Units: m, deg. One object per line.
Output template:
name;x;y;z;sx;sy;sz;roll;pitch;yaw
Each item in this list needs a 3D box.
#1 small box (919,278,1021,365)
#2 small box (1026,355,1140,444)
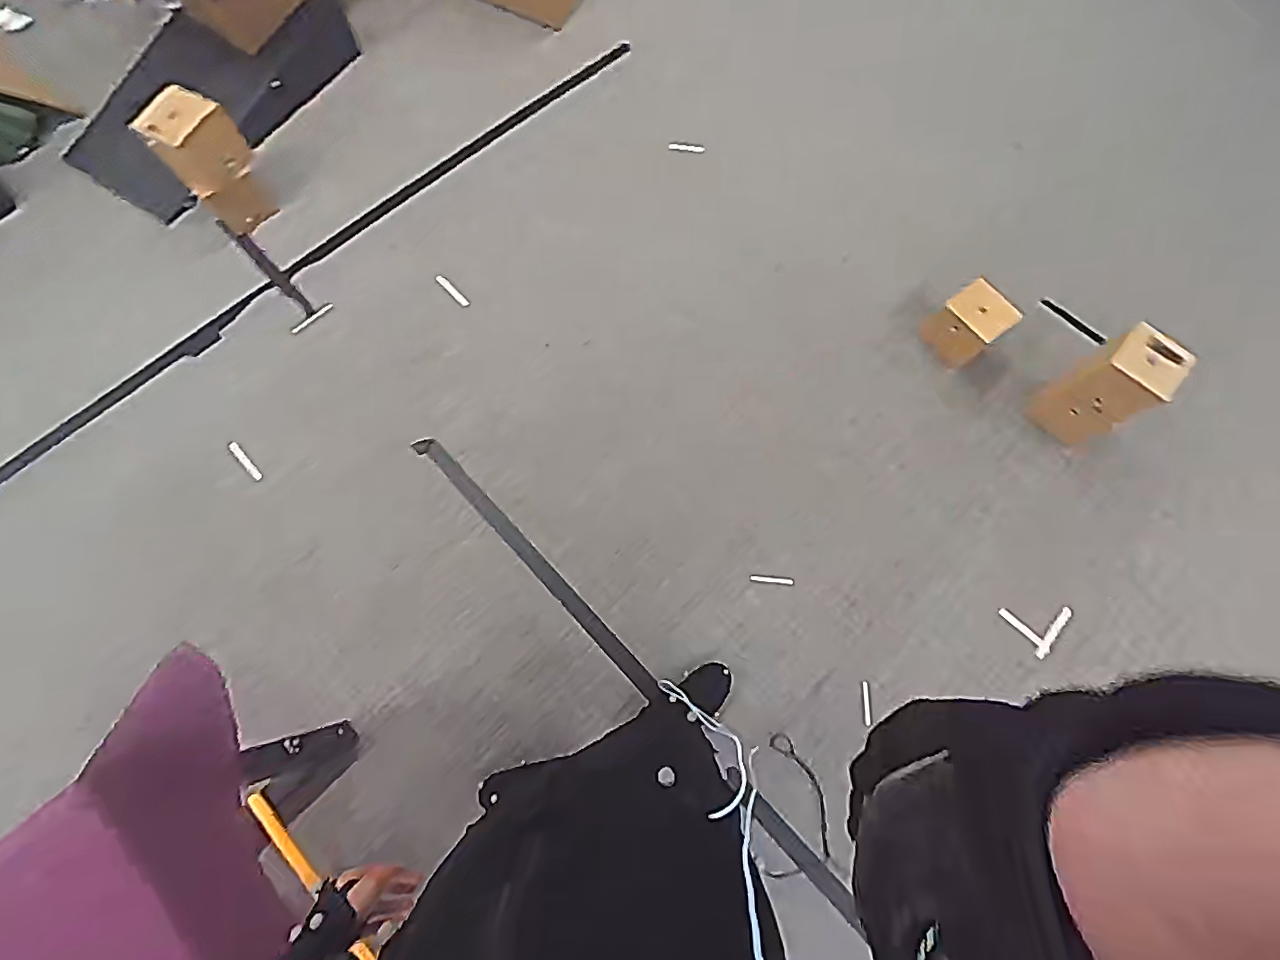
small box;1.033;-0.489;1.708;0.168;0.176;0.179;-36;76;-11
small box;1.329;-0.235;1.637;0.179;0.176;0.168;43;77;10
